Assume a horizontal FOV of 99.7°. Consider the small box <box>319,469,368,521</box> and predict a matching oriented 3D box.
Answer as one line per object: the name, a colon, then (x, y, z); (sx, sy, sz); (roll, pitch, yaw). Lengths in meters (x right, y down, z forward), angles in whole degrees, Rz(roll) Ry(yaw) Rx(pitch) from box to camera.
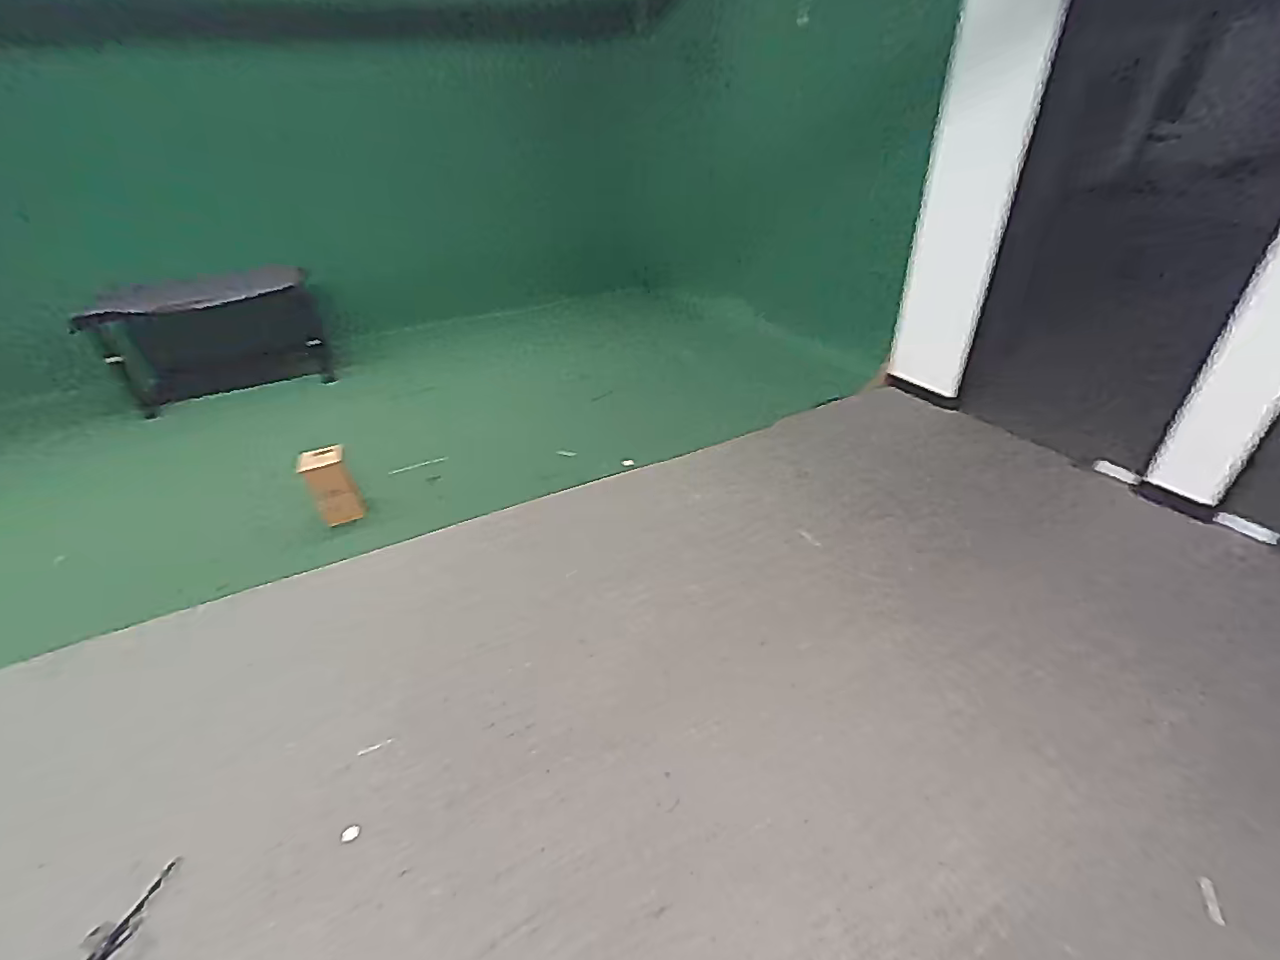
small box: (-1.435, 0.079, 2.626); (0.168, 0.176, 0.179); (-18, 36, -17)
